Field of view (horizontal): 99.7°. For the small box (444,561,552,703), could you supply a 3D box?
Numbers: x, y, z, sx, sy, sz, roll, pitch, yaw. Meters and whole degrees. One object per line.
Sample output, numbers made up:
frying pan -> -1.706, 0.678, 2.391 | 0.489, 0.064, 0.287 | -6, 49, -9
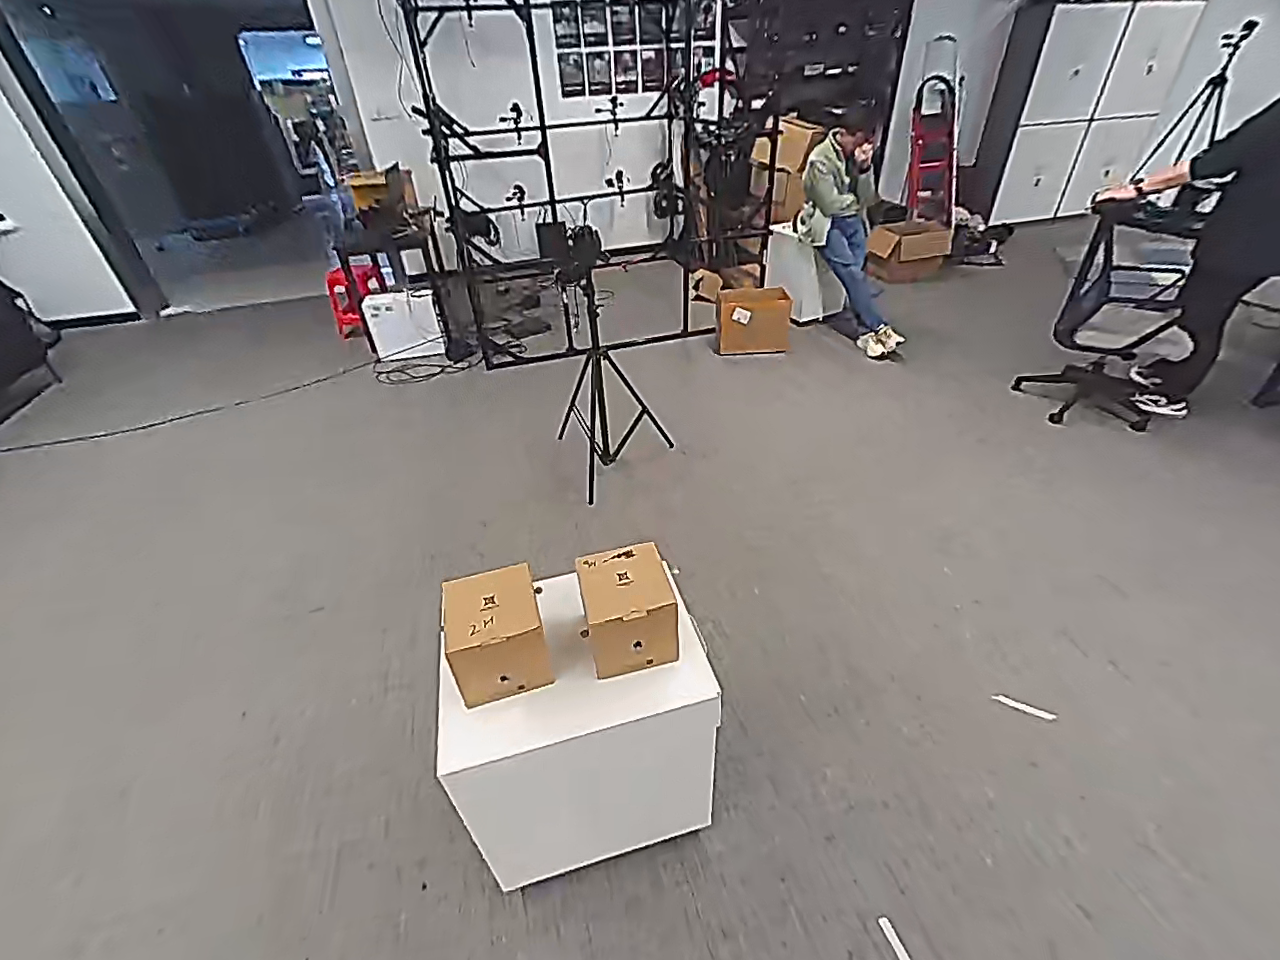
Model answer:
small box -> -0.271, 0.289, 1.037 | 0.168, 0.176, 0.179 | -13, 38, -12

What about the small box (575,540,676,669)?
small box -> -0.027, 0.250, 1.069 | 0.168, 0.176, 0.179 | -11, 38, -9
